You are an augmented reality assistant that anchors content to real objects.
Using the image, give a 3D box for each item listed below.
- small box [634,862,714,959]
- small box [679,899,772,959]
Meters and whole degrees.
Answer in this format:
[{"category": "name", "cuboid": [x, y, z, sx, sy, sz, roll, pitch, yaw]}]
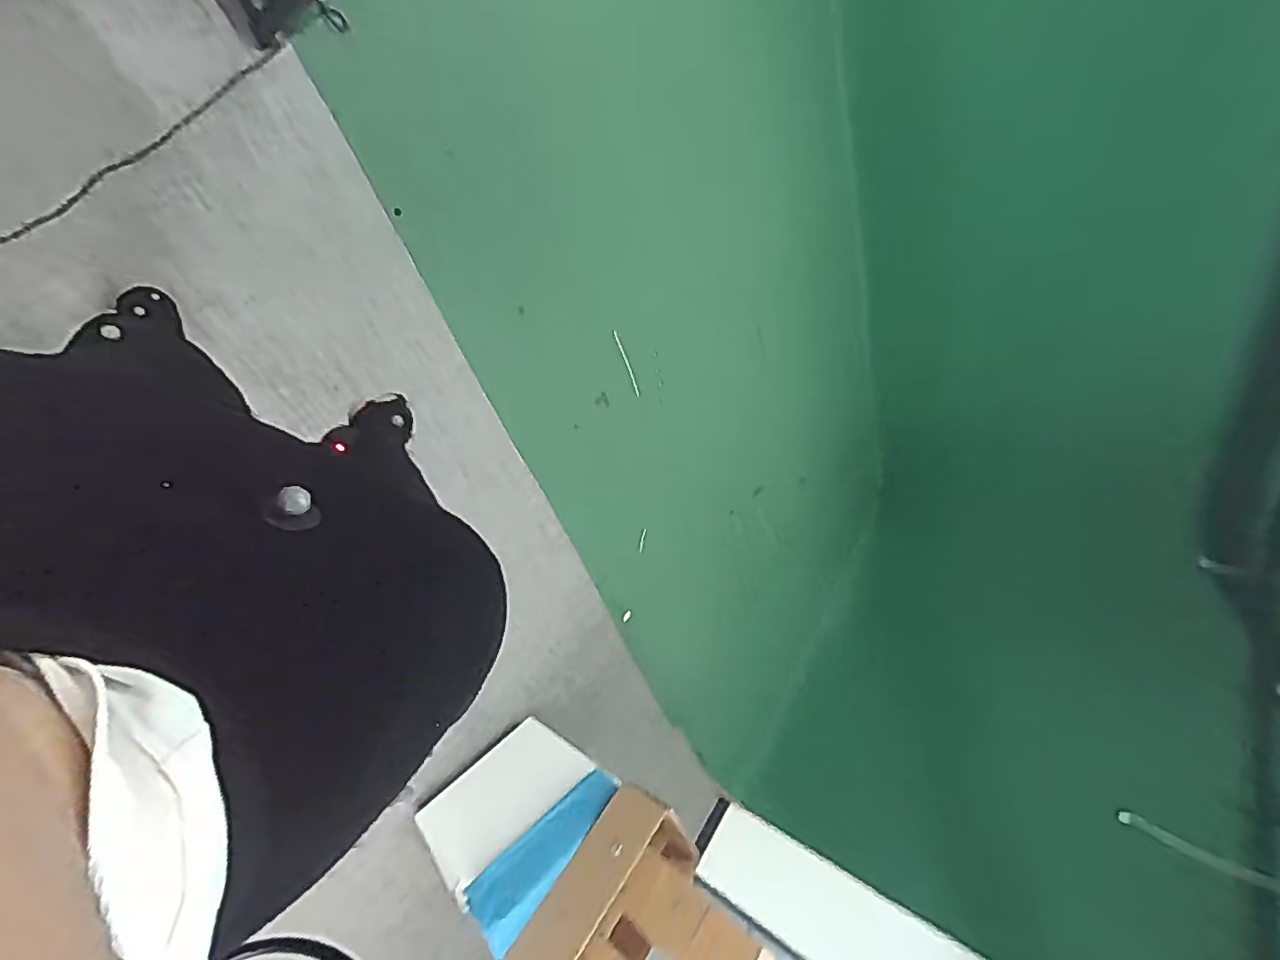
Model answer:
[{"category": "small box", "cuboid": [0.111, 1.267, 1.579, 0.179, 0.176, 0.168, -49, 132, -28]}, {"category": "small box", "cuboid": [0.232, 1.299, 1.474, 0.179, 0.176, 0.168, -48, 132, -26]}]
